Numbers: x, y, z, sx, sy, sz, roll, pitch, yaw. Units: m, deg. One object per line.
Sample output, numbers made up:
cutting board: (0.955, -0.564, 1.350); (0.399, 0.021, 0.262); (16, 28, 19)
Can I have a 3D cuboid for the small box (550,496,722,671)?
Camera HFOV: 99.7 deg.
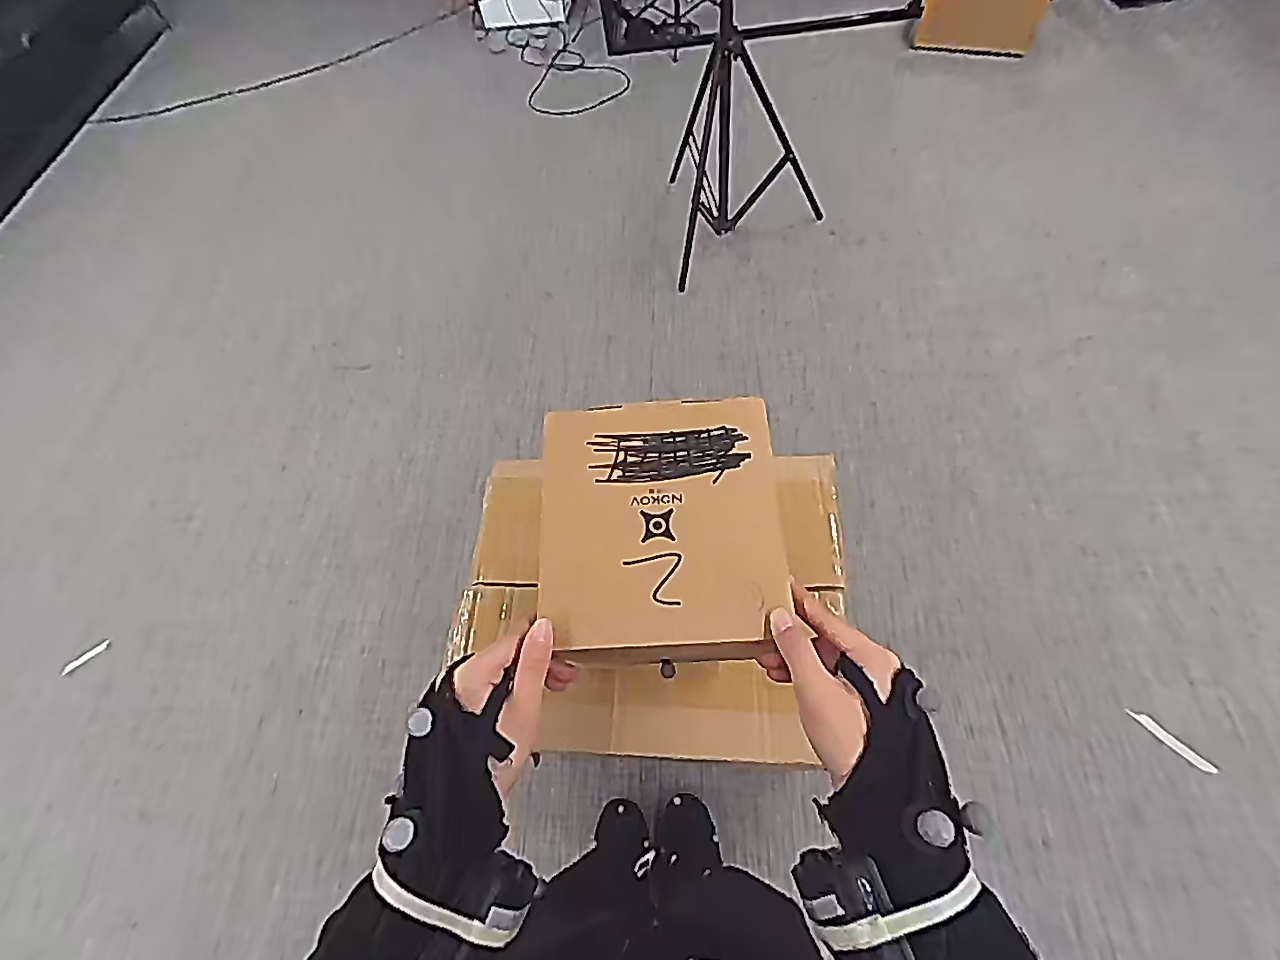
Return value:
small box: (0.008, 0.129, 0.646); (0.179, 0.176, 0.168); (0, 63, 7)
